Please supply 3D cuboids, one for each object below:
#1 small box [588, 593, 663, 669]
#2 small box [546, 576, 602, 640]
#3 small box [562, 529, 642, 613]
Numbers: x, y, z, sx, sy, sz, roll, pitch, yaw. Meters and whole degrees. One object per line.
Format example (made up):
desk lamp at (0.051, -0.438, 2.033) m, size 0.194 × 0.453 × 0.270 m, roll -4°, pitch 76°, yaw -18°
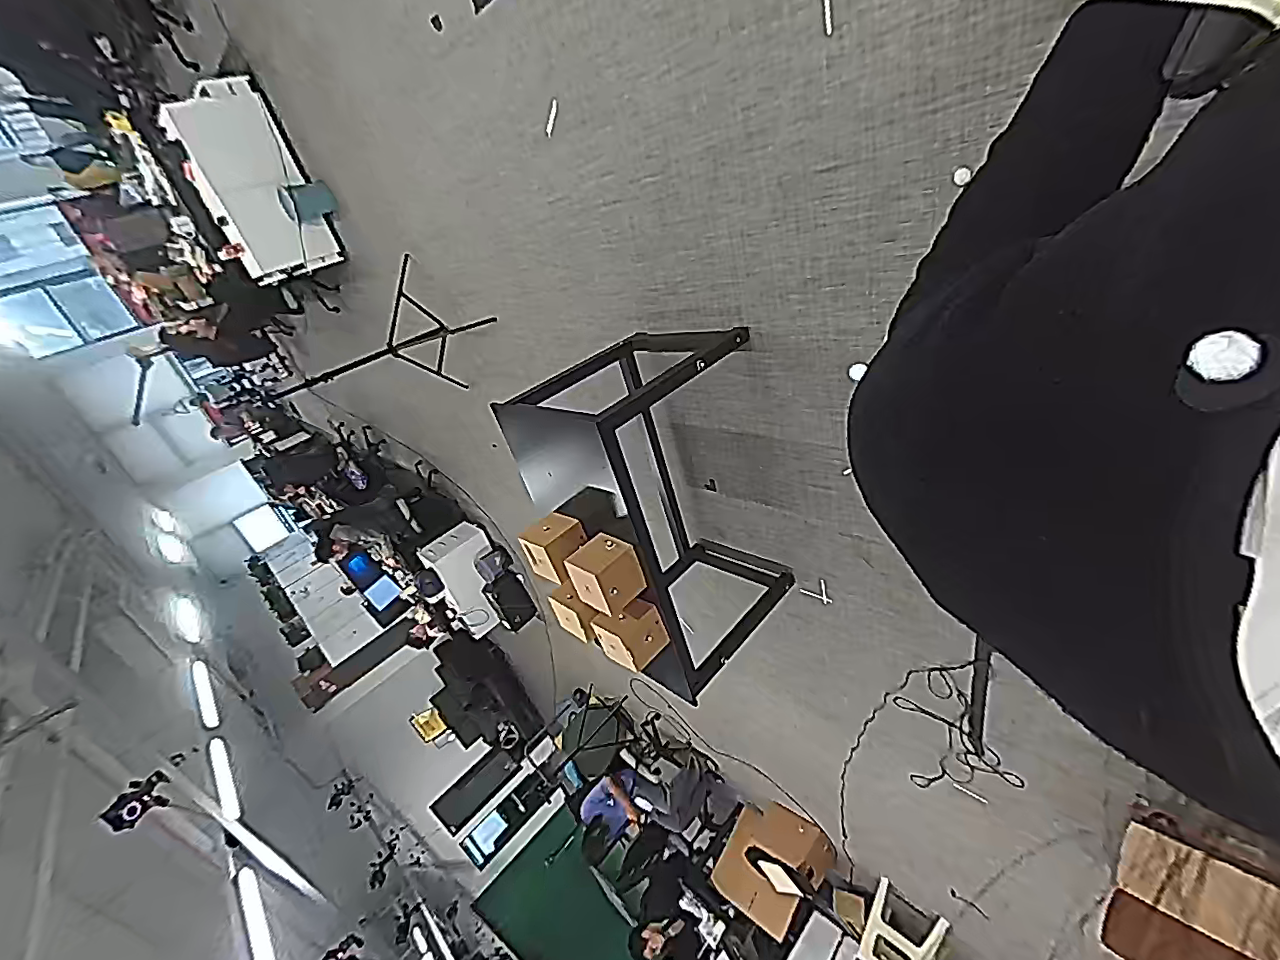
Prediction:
small box at (-0.041, 0.507, 1.856) m, size 0.179 × 0.176 × 0.168 m, roll 8°, pitch 127°, yaw 49°
small box at (-0.221, 0.465, 2.054) m, size 0.179 × 0.176 × 0.168 m, roll 16°, pitch 133°, yaw 44°
small box at (-0.116, 0.289, 1.742) m, size 0.168 × 0.176 × 0.179 m, roll 14°, pitch 131°, yaw 46°
